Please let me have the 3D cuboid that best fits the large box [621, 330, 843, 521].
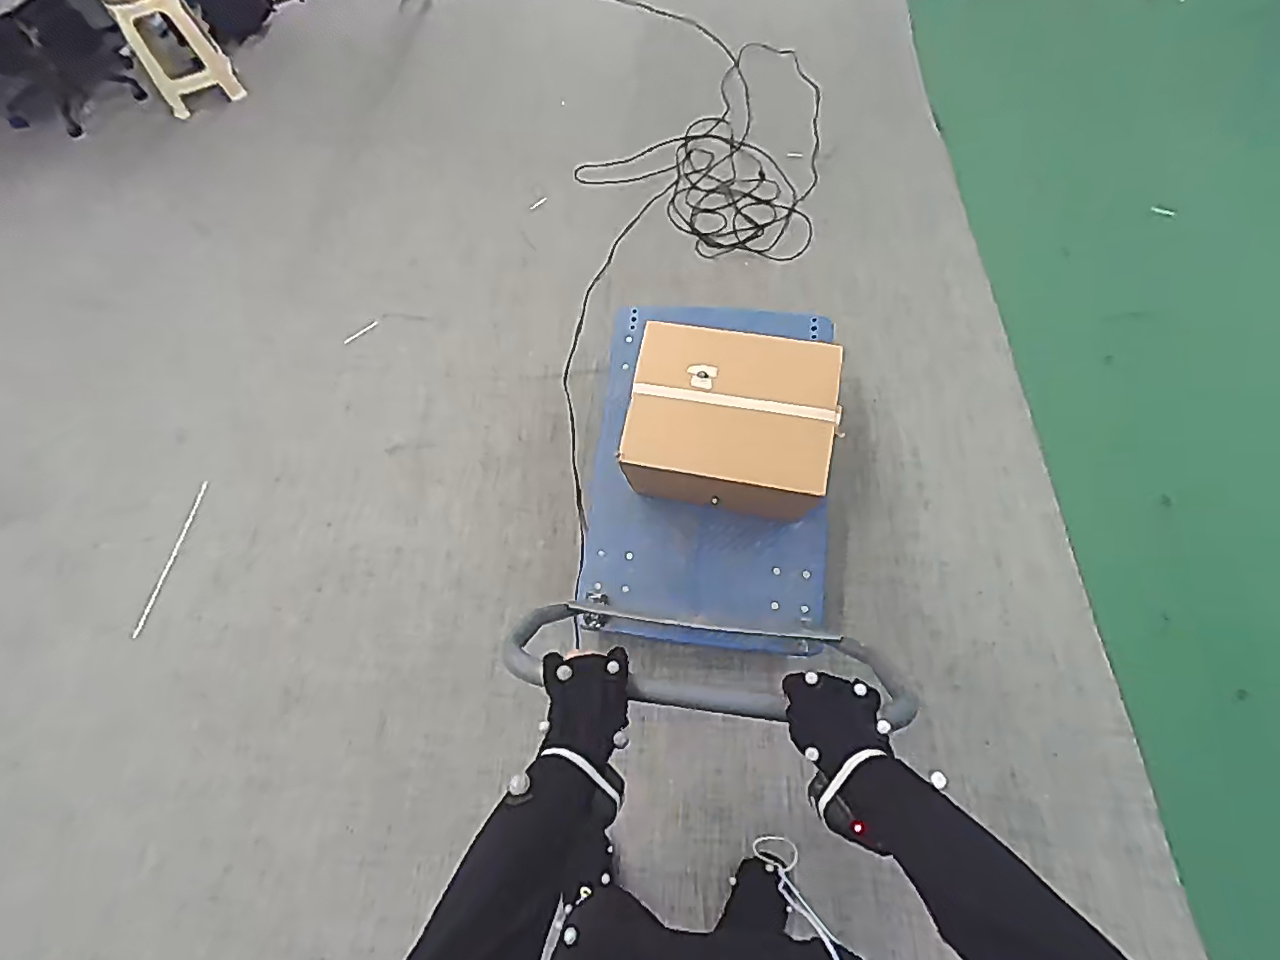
[{"bbox_3d":[0.204,-0.106,1.215,0.408,0.320,0.320,10,78,9],"label":"large box"}]
